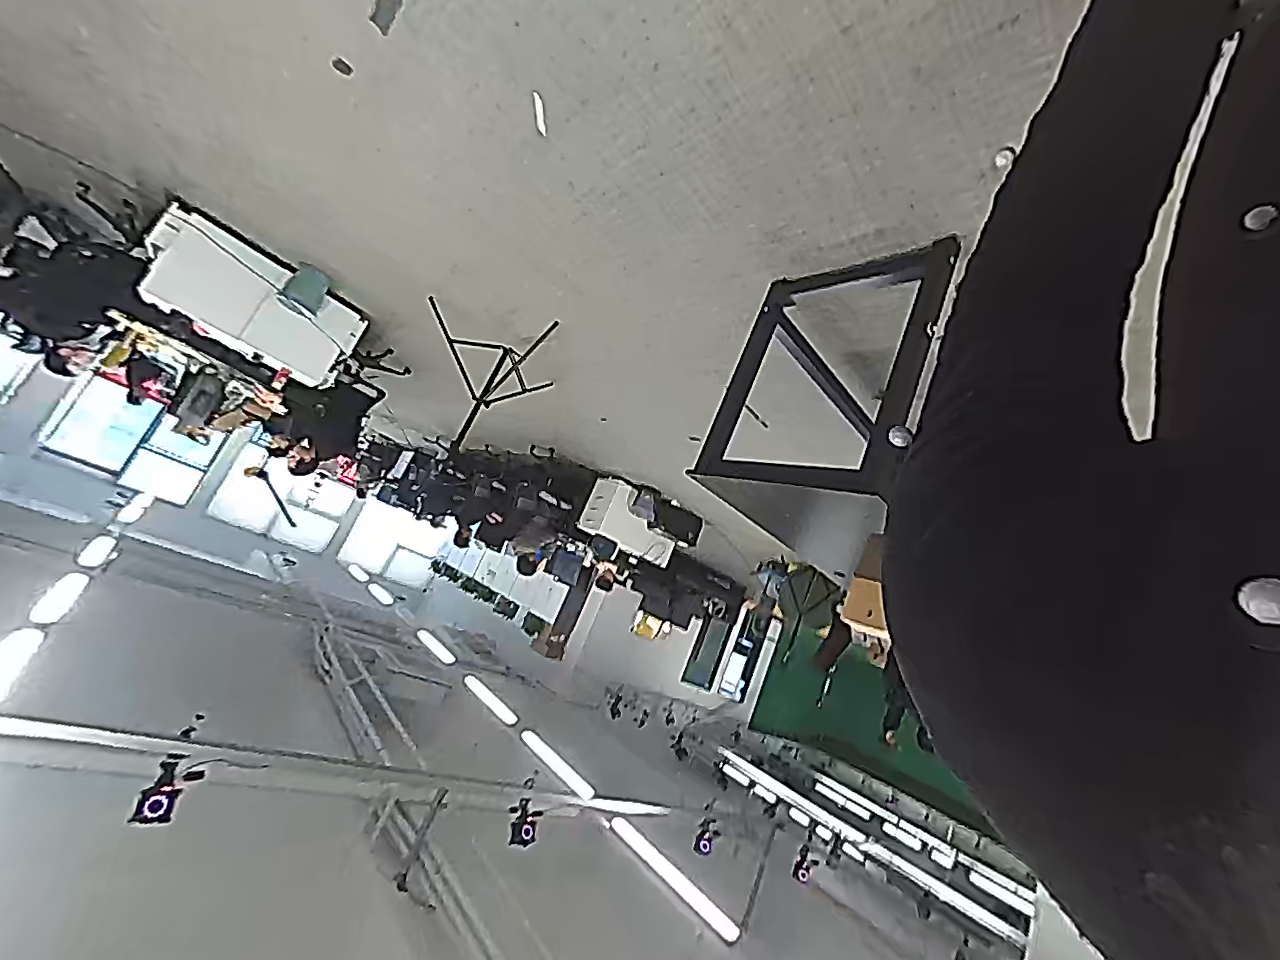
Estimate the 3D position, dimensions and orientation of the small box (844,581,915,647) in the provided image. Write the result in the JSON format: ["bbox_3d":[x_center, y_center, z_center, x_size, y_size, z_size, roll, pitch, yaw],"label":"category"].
[{"bbox_3d":[0.873,0.480,1.957,0.179,0.176,0.168,9,160,48],"label":"small box"}]
